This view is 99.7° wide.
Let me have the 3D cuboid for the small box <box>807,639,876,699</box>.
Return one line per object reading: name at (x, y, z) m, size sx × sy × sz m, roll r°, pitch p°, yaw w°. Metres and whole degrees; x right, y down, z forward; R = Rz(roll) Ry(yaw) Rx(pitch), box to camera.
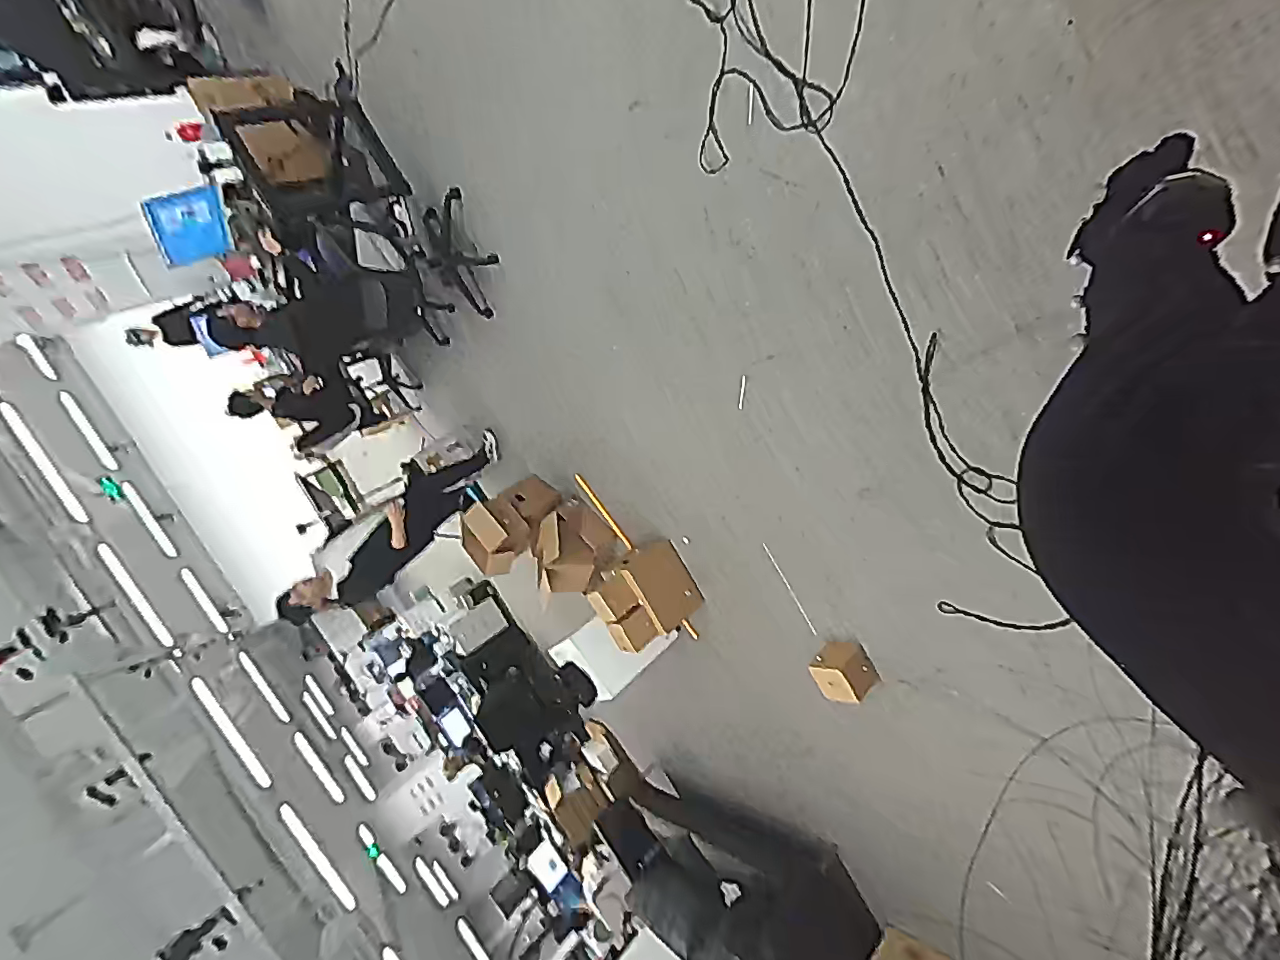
small box at (0.836, 0.774, 2.235) m, size 0.168 × 0.176 × 0.179 m, roll 59°, pitch 148°, yaw -5°
